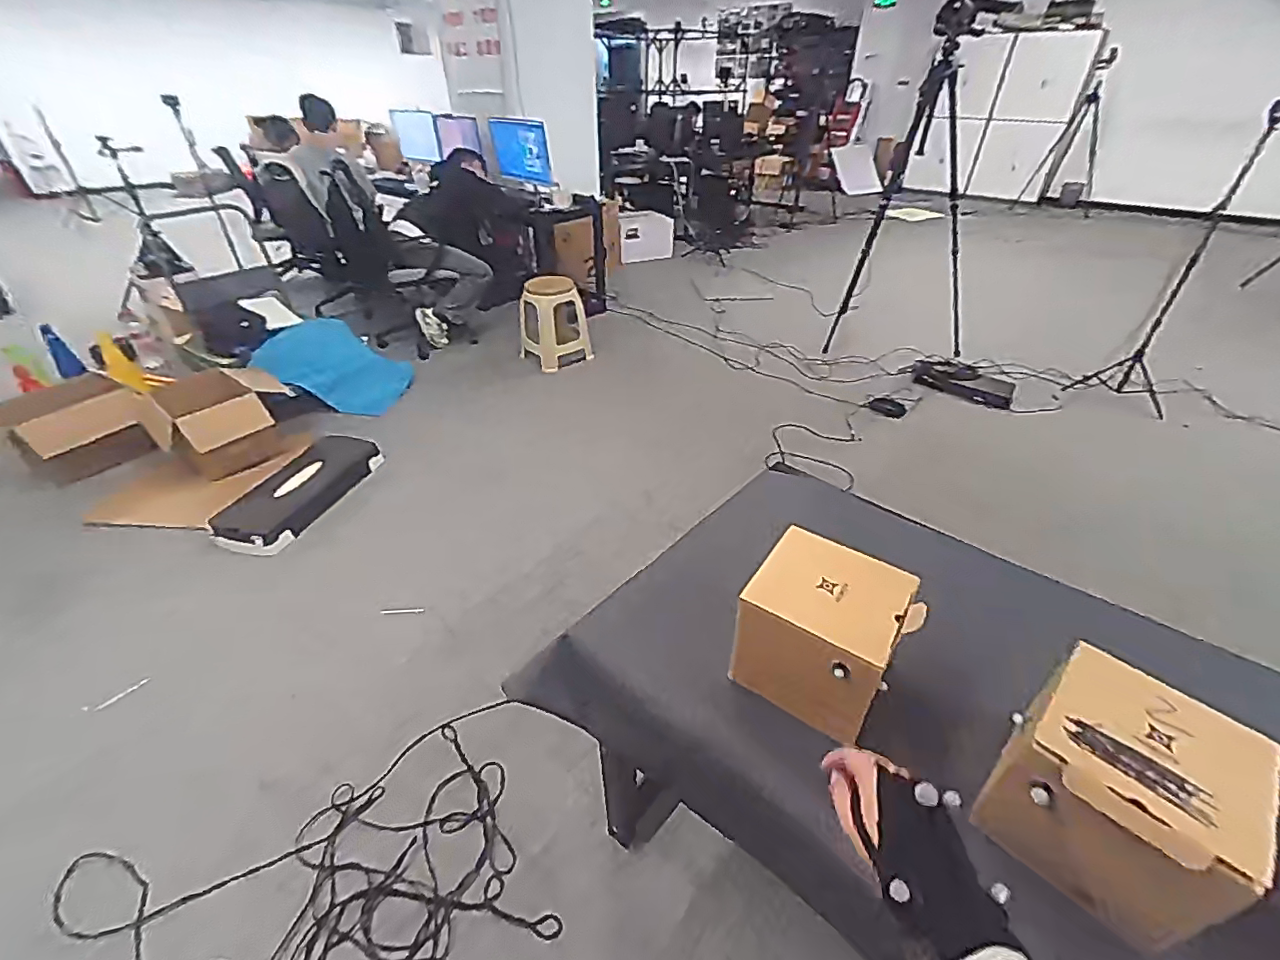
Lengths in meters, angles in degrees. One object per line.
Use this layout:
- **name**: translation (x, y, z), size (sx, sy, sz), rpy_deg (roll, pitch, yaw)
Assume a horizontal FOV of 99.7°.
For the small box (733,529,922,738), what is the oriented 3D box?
- **small box**: translation (0.239, 0.200, 0.717), size (0.179, 0.176, 0.168), rpy_deg (23, 42, 27)
